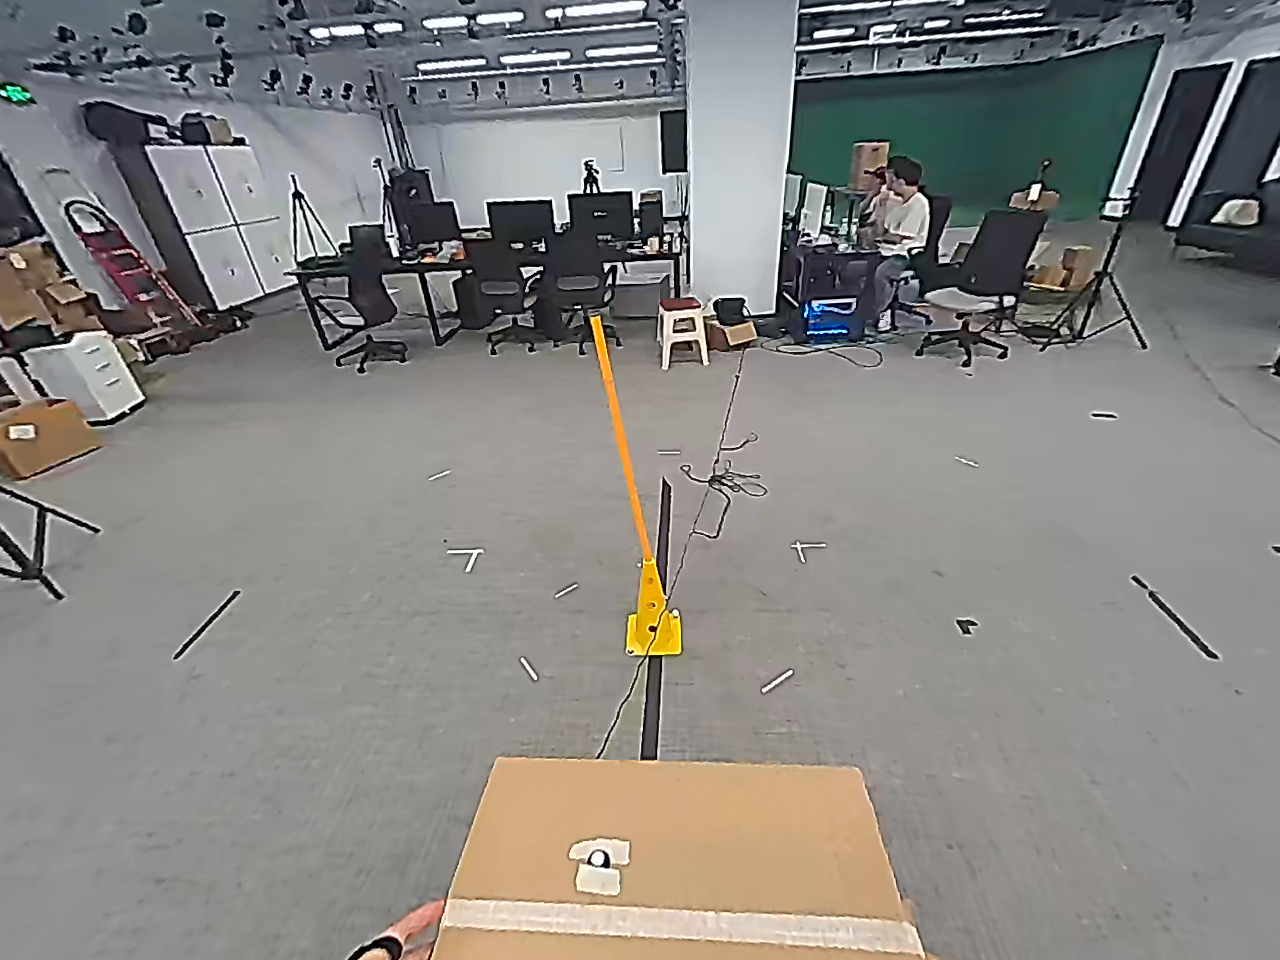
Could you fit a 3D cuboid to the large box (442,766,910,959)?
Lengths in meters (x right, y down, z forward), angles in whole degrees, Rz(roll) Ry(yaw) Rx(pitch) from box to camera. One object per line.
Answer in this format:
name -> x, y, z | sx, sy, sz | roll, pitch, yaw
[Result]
large box -> 0.040, 0.527, 0.542 | 0.408, 0.320, 0.320 | -3, 26, 5
